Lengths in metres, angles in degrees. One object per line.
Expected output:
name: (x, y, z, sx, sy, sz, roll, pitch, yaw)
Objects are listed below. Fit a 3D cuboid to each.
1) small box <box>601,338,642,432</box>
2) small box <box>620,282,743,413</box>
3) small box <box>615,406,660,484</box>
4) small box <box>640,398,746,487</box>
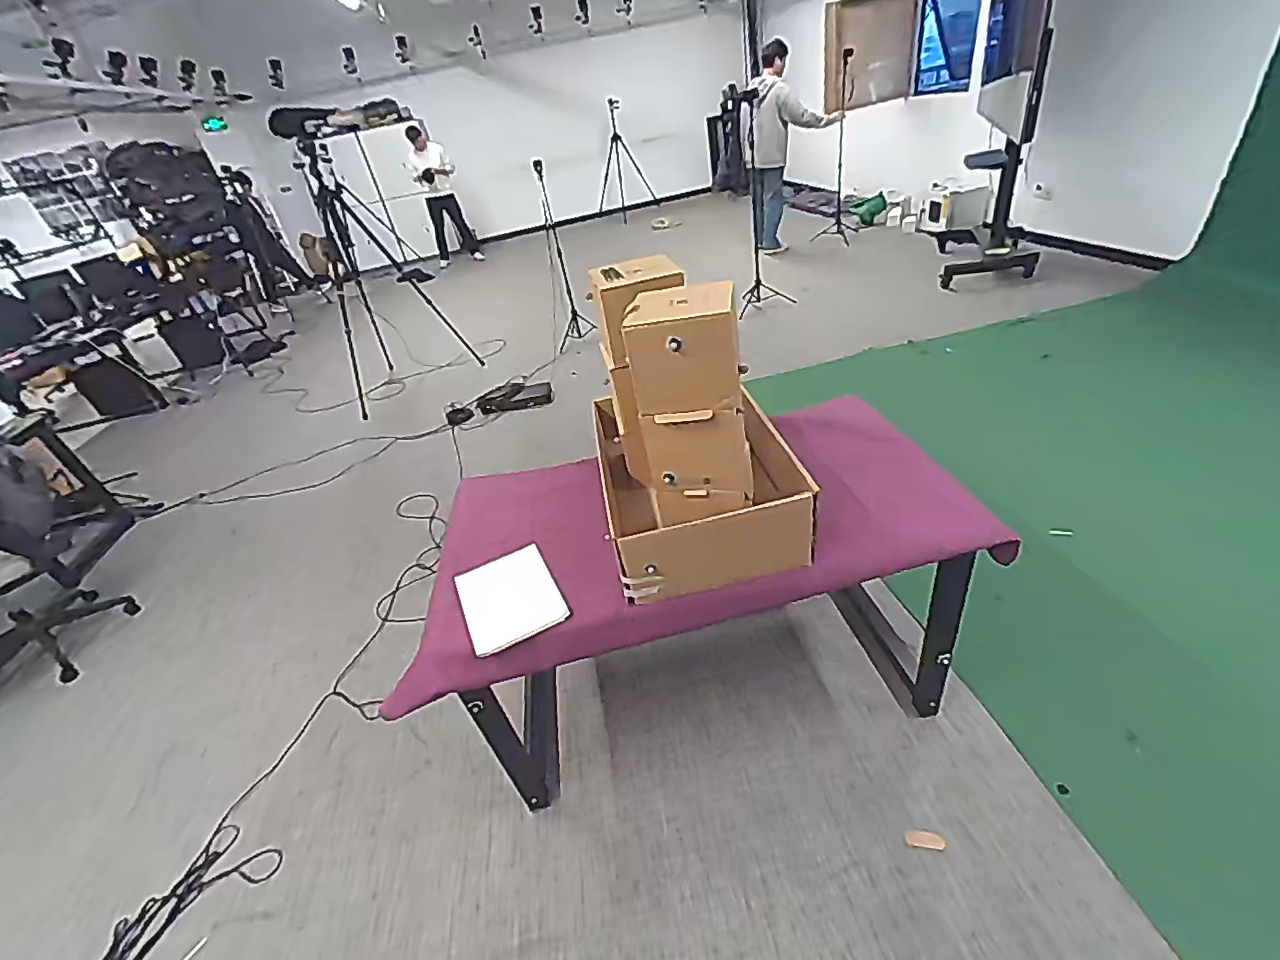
small box: (0.018, -0.232, 1.268, 0.179, 0.176, 0.168, -14, 36, -3)
small box: (0.082, -0.227, 0.944, 0.179, 0.176, 0.168, -3, 35, 15)
small box: (0.040, -0.105, 1.365, 0.168, 0.176, 0.179, -13, 36, -1)
small box: (0.111, -0.097, 1.037, 0.168, 0.176, 0.179, -2, 35, 17)
